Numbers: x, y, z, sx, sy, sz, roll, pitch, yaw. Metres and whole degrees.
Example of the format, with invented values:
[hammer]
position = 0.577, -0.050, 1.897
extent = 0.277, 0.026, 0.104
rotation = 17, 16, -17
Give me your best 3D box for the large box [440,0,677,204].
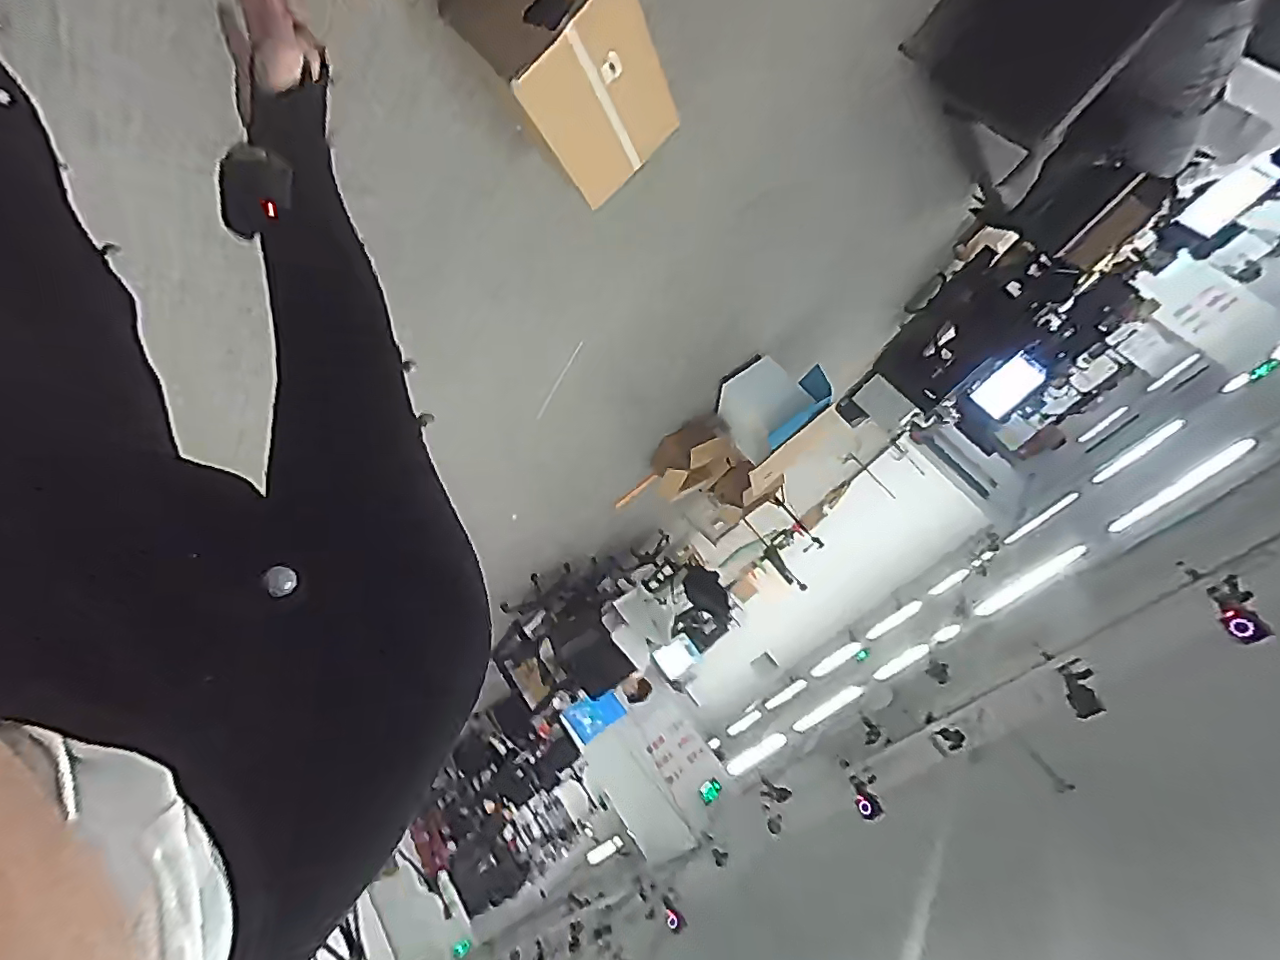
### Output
[large box]
position = -0.172, -0.963, 1.269
extent = 0.320, 0.320, 0.408
rotation = -43, 159, 9
